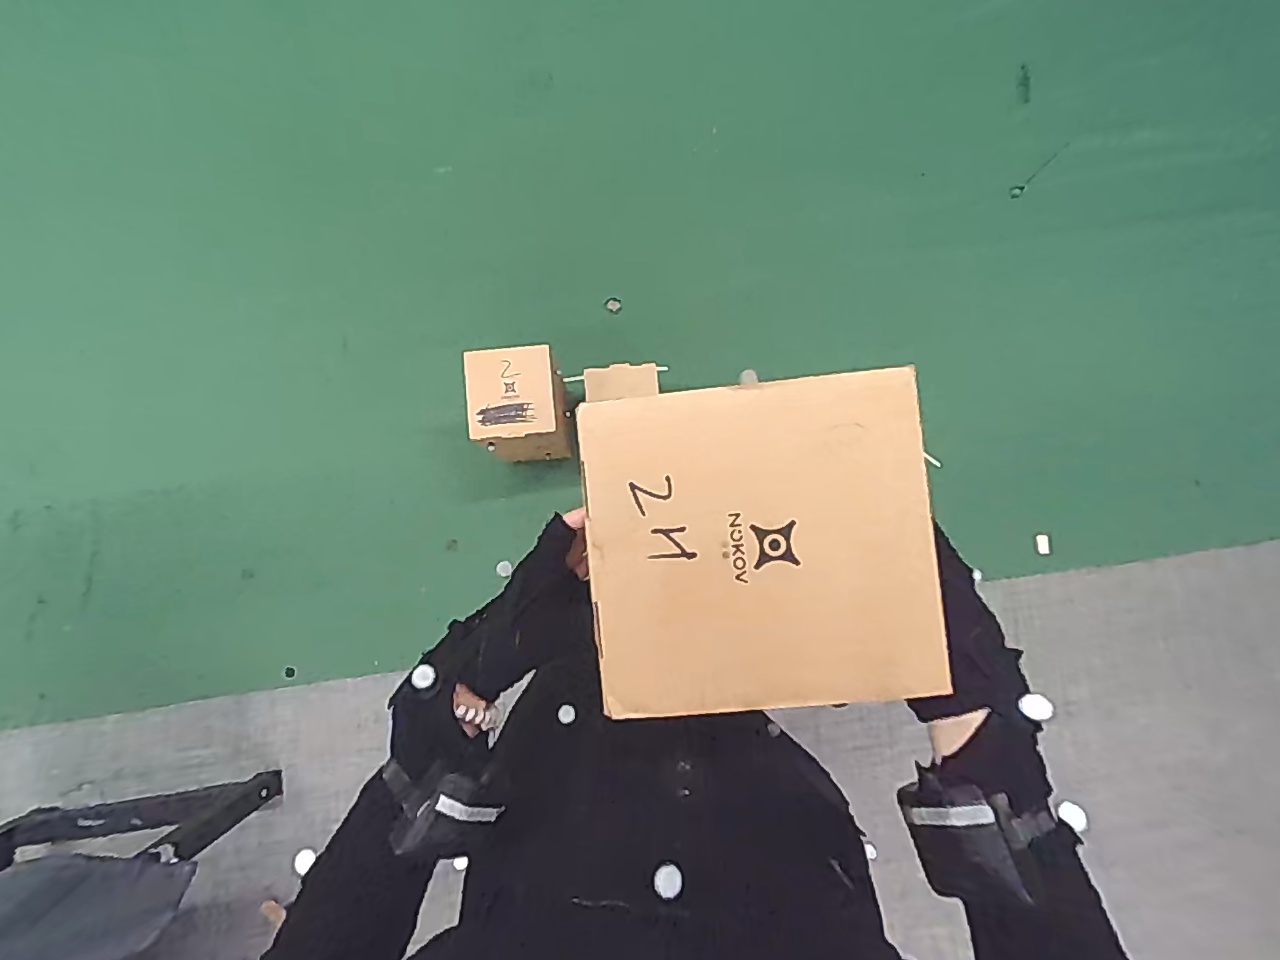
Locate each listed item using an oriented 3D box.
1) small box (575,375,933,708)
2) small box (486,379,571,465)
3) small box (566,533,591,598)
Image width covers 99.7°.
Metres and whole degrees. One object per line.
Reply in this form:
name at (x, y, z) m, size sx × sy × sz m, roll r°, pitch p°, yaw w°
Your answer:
small box at (0.063, 0.035, 0.364) m, size 0.179 × 0.176 × 0.168 m, roll -6°, pitch 87°, yaw 5°
small box at (-0.258, -0.129, 1.281) m, size 0.168 × 0.176 × 0.179 m, roll -4°, pitch 85°, yaw -1°
small box at (-0.051, 0.193, 1.271) m, size 0.179 × 0.176 × 0.168 m, roll 34°, pitch 100°, yaw 19°
